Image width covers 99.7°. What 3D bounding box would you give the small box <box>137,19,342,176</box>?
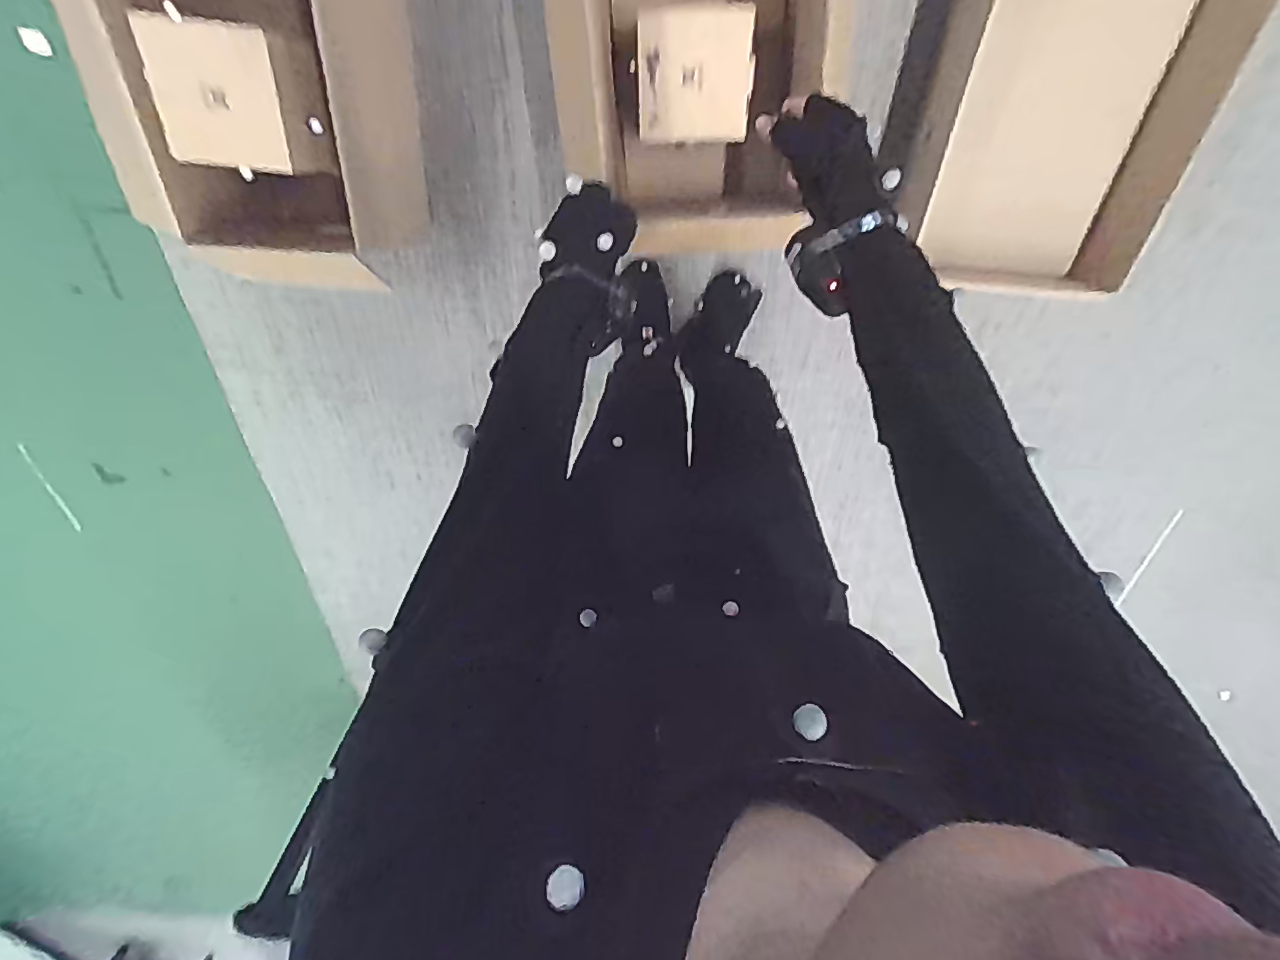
[{"bbox_3d":[-0.580,-0.568,0.819,0.179,0.176,0.168,5,122,-2],"label":"small box"}]
